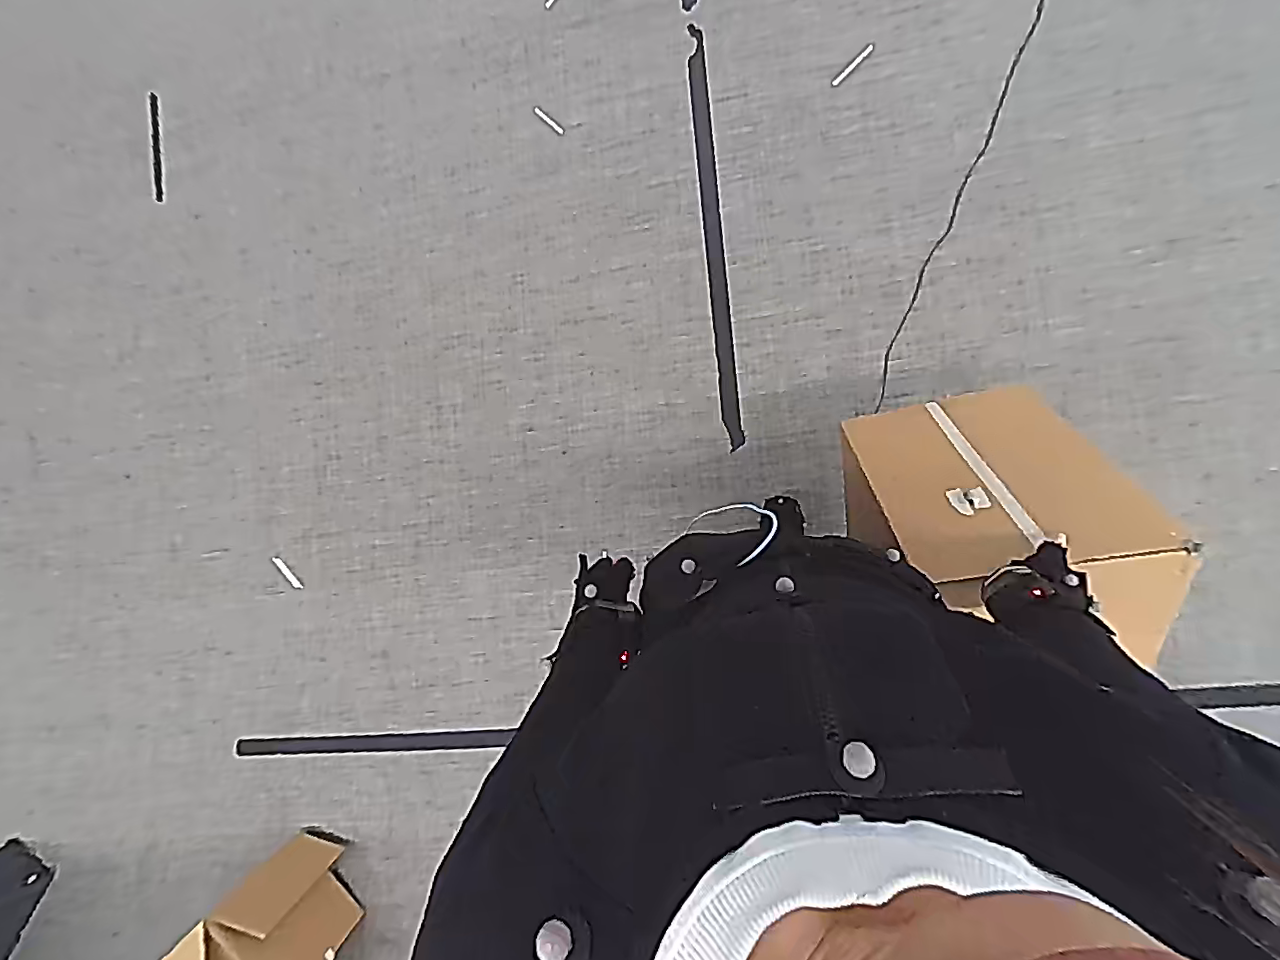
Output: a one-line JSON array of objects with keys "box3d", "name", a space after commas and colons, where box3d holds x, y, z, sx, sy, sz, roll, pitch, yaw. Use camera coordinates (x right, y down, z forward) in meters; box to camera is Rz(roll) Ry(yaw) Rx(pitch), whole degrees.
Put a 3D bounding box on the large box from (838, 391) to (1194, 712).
[{"box3d": [0.543, 0.108, 0.896, 0.320, 0.408, 0.320, -12, 126, 12], "name": "large box"}]
